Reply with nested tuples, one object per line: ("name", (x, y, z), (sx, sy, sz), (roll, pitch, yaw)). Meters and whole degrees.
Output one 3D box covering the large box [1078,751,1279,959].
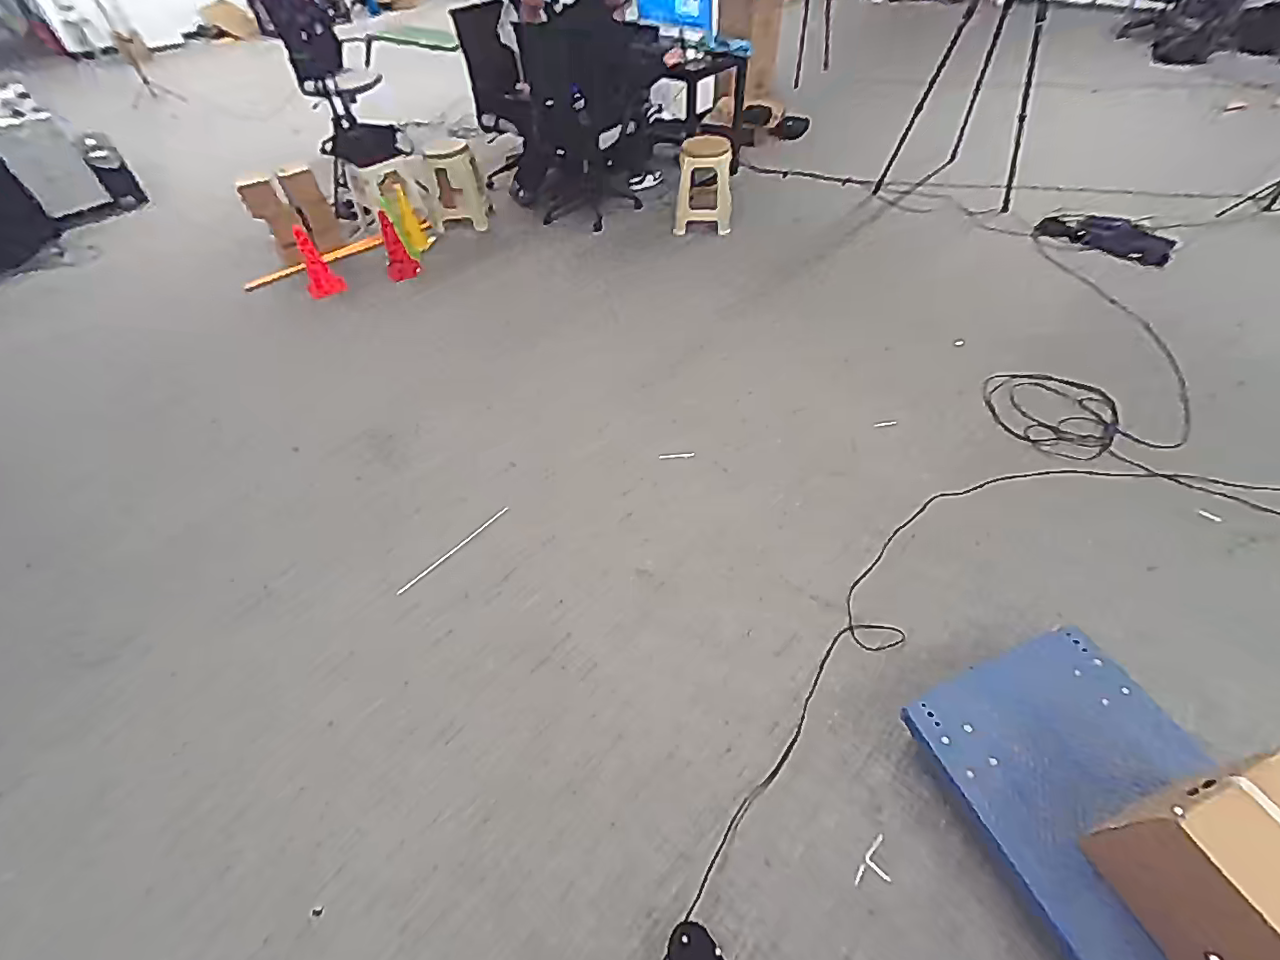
("large box", (1.132, 0.774, 0.950), (0.320, 0.320, 0.408), (-18, 51, -12))
